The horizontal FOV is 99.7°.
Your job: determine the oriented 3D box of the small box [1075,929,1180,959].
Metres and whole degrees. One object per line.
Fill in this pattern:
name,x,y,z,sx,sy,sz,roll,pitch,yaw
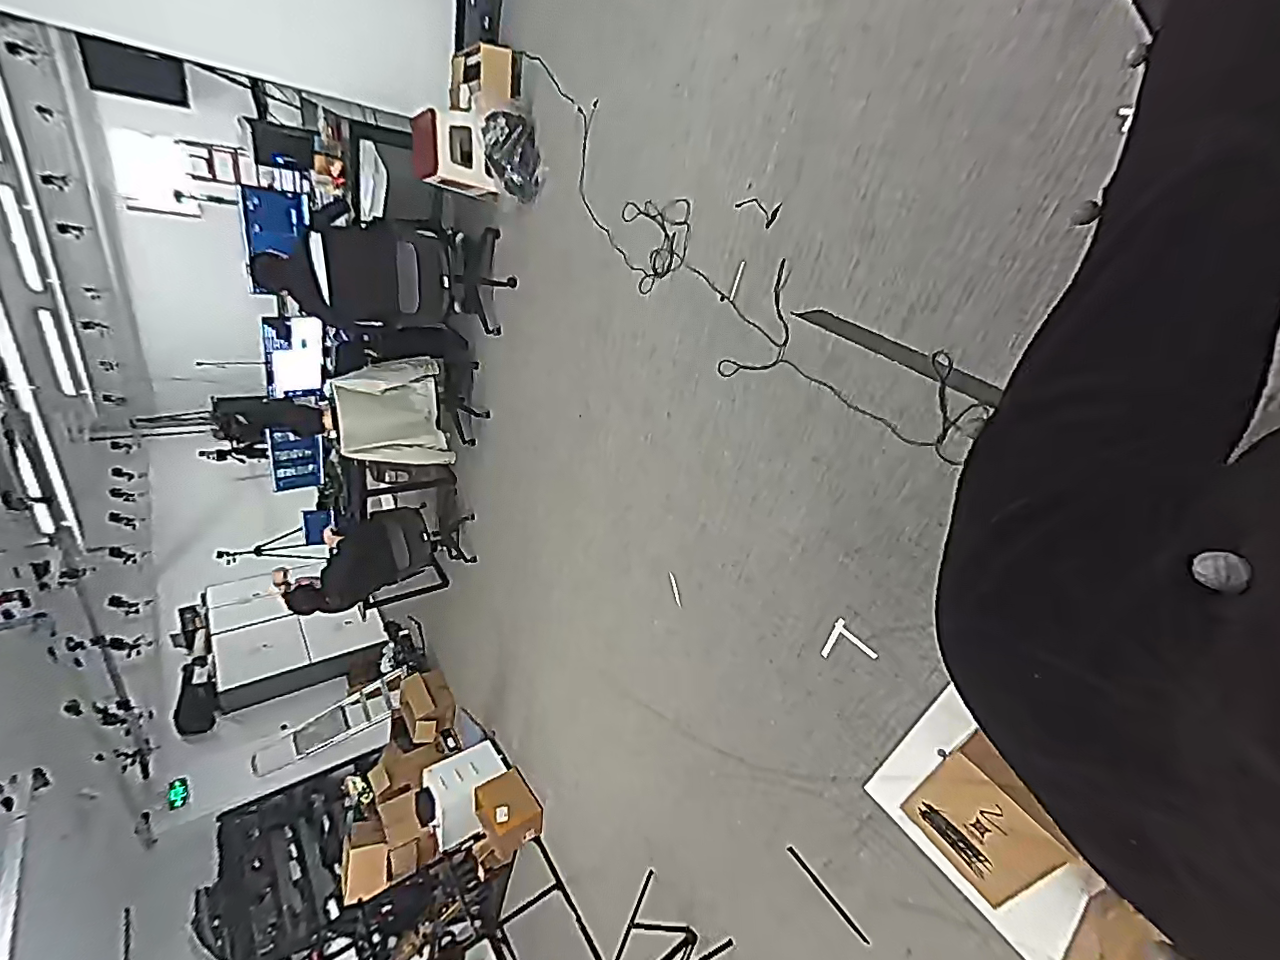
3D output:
small box,0.564,0.651,0.591,0.168,0.176,0.179,42,130,38

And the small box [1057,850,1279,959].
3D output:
small box,0.691,0.628,0.689,0.168,0.176,0.179,43,131,37
